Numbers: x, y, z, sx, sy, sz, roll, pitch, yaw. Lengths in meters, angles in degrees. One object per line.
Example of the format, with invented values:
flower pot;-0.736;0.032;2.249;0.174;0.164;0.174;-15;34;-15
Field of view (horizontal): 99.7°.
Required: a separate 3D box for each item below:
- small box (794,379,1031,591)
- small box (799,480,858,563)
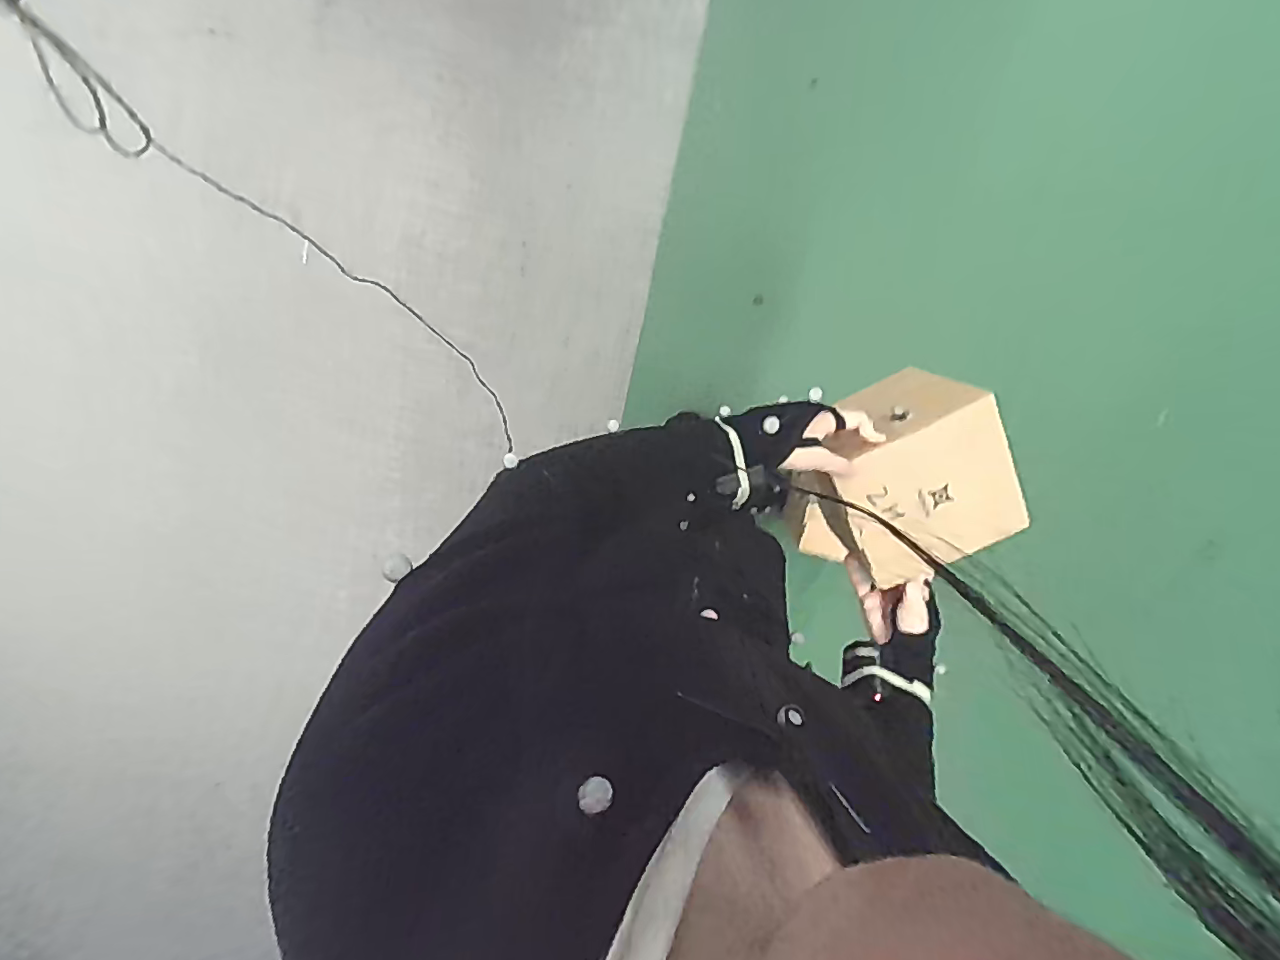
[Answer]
small box;0.312;-0.005;0.650;0.179;0.176;0.168;-26;107;10
small box;0.458;0.073;1.177;0.179;0.176;0.168;13;102;8
